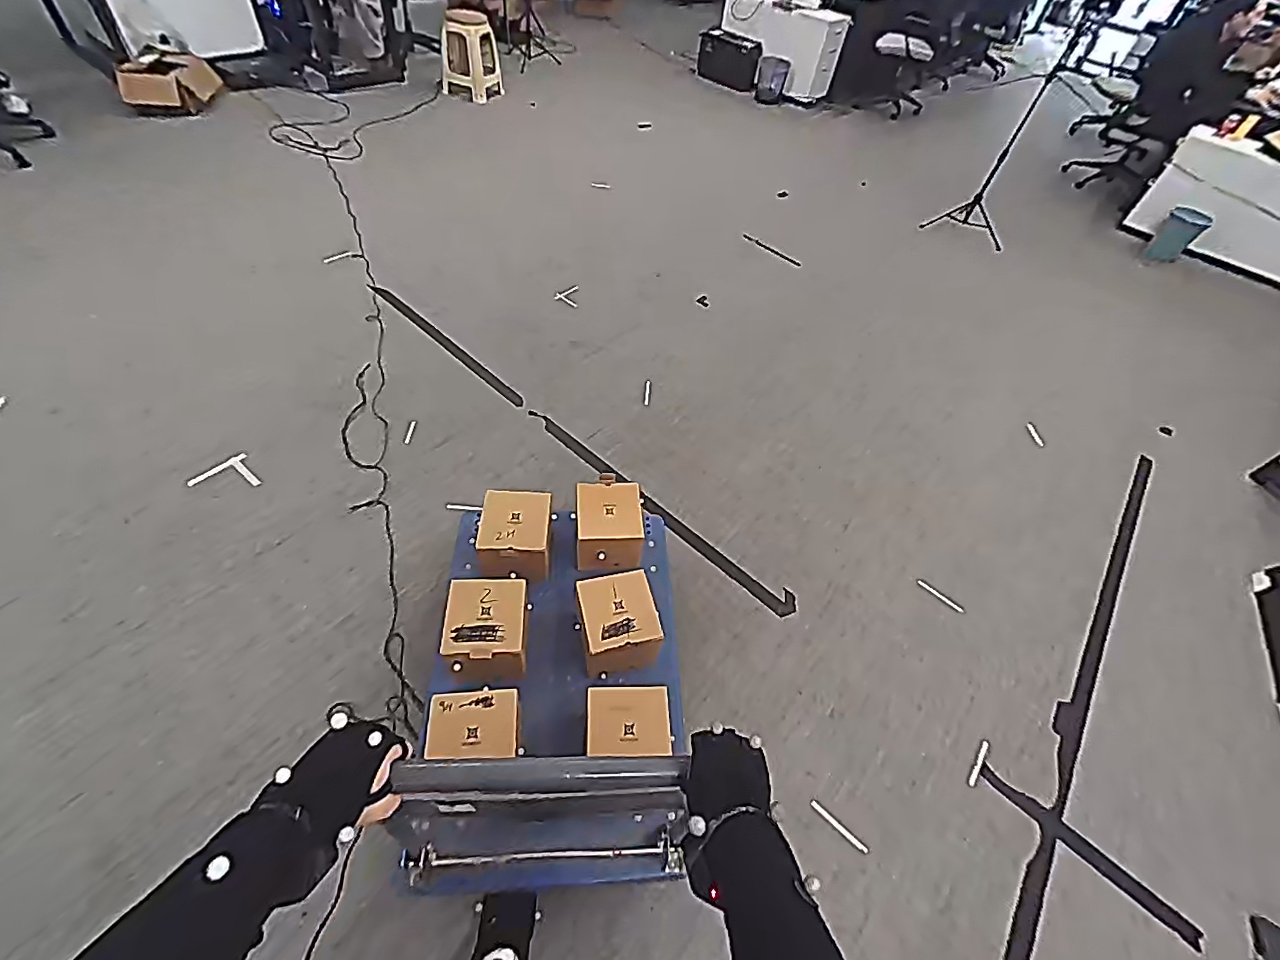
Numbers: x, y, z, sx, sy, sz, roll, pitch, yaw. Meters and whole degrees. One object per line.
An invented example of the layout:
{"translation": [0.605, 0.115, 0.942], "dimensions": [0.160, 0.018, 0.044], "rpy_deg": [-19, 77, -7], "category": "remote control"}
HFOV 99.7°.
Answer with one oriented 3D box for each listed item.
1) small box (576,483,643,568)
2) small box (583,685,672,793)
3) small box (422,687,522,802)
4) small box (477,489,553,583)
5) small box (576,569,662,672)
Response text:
{"translation": [-0.087, 0.126, 1.449], "dimensions": [0.168, 0.176, 0.179], "rpy_deg": [-1, 51, -9], "category": "small box"}
{"translation": [-0.030, 0.541, 1.124], "dimensions": [0.168, 0.176, 0.179], "rpy_deg": [3, 50, -7], "category": "small box"}
{"translation": [-0.325, 0.533, 1.082], "dimensions": [0.168, 0.176, 0.179], "rpy_deg": [0, 52, -10], "category": "small box"}
{"translation": [-0.315, 0.146, 1.396], "dimensions": [0.168, 0.176, 0.179], "rpy_deg": [3, 52, -6], "category": "small box"}
{"translation": [-0.057, 0.339, 1.281], "dimensions": [0.168, 0.176, 0.179], "rpy_deg": [-8, 52, -14], "category": "small box"}
